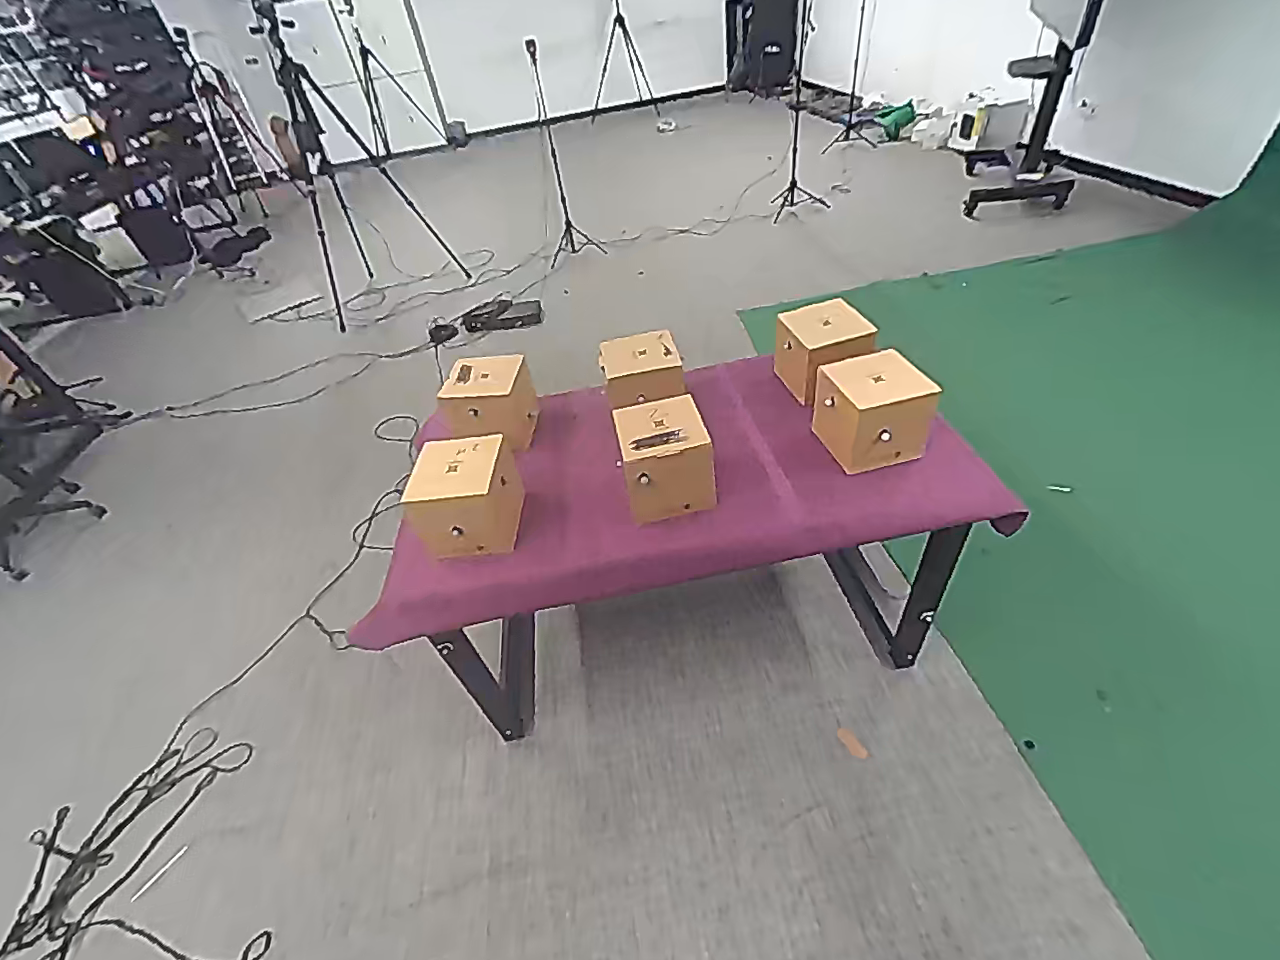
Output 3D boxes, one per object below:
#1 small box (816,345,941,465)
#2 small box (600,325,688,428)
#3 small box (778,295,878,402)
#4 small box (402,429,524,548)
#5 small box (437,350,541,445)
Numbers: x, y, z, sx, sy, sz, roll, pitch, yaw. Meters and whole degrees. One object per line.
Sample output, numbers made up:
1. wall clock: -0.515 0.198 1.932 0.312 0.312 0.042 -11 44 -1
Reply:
1. small box: 0.478 -0.148 1.113 0.168 0.176 0.179 -14 41 -3
2. small box: 0.010 -0.244 1.300 0.179 0.176 0.168 -12 45 -1
3. small box: 0.438 -0.314 1.294 0.168 0.176 0.179 -15 45 -3
4. small box: -0.341 0.023 1.083 0.168 0.176 0.179 -5 44 4
5. small box: -0.357 -0.197 1.315 0.179 0.176 0.168 -1 45 7
